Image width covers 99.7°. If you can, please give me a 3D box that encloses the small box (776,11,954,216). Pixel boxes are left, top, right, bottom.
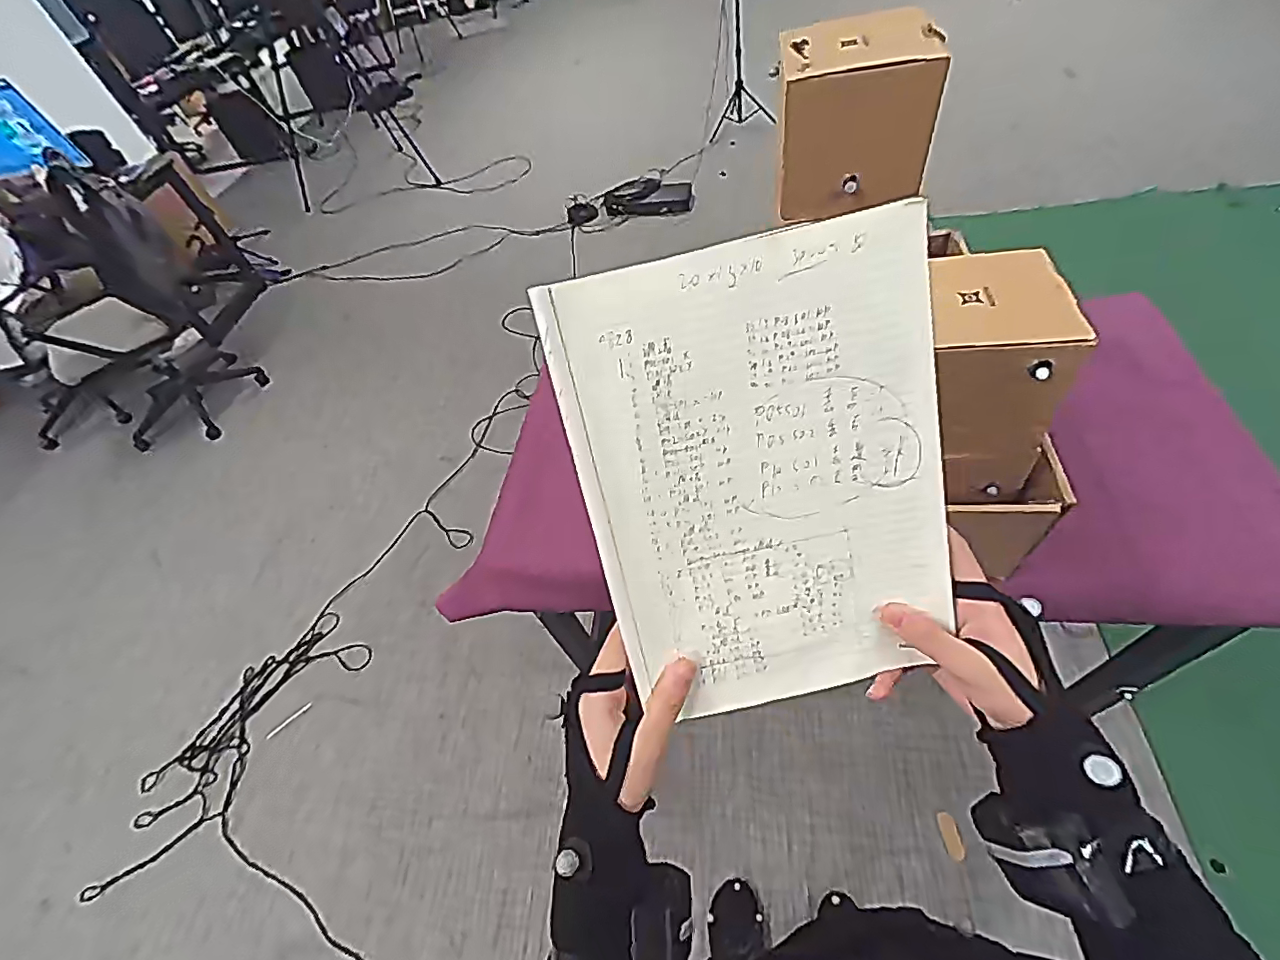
[{"bbox_3d":[0.275,-0.471,0.707,0.179,0.176,0.168,0,53,11],"label":"small box"}]

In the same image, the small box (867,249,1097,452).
[{"bbox_3d":[0.374,-0.146,0.638,0.179,0.176,0.168,0,51,12],"label":"small box"}]

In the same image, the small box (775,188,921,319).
[{"bbox_3d":[0.304,-0.370,0.833,0.179,0.176,0.168,-2,53,11],"label":"small box"}]
